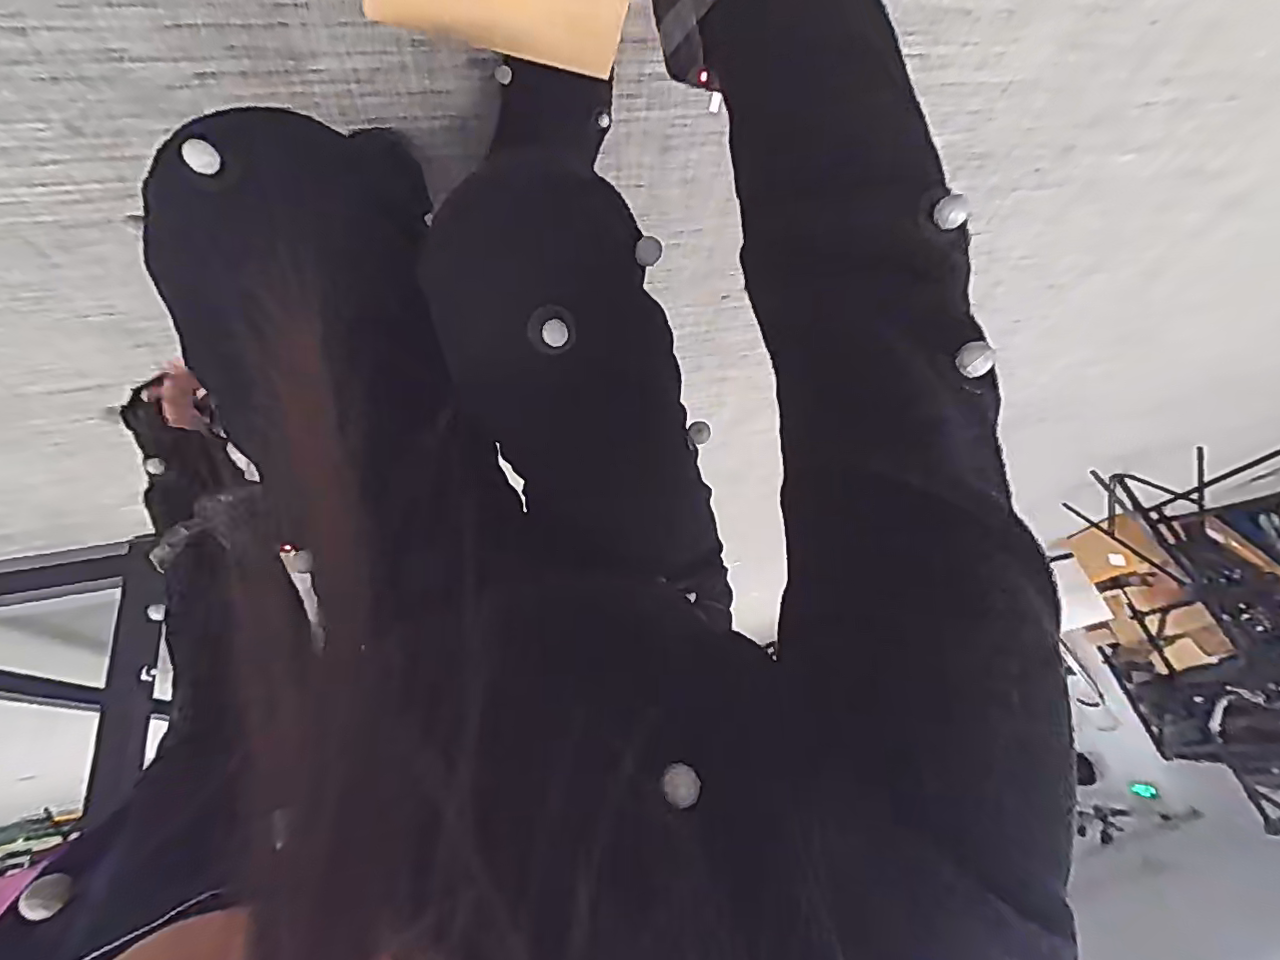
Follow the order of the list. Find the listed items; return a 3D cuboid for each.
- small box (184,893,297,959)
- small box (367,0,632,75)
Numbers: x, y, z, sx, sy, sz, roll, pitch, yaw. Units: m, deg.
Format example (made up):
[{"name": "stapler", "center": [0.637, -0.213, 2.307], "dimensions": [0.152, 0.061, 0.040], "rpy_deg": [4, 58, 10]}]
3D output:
[{"name": "small box", "center": [-0.946, 1.114, 1.285], "dimensions": [0.179, 0.176, 0.168], "rpy_deg": [-10, 155, -10]}, {"name": "small box", "center": [-0.085, -0.406, 0.331], "dimensions": [0.168, 0.176, 0.179], "rpy_deg": [-5, 153, -25]}]
